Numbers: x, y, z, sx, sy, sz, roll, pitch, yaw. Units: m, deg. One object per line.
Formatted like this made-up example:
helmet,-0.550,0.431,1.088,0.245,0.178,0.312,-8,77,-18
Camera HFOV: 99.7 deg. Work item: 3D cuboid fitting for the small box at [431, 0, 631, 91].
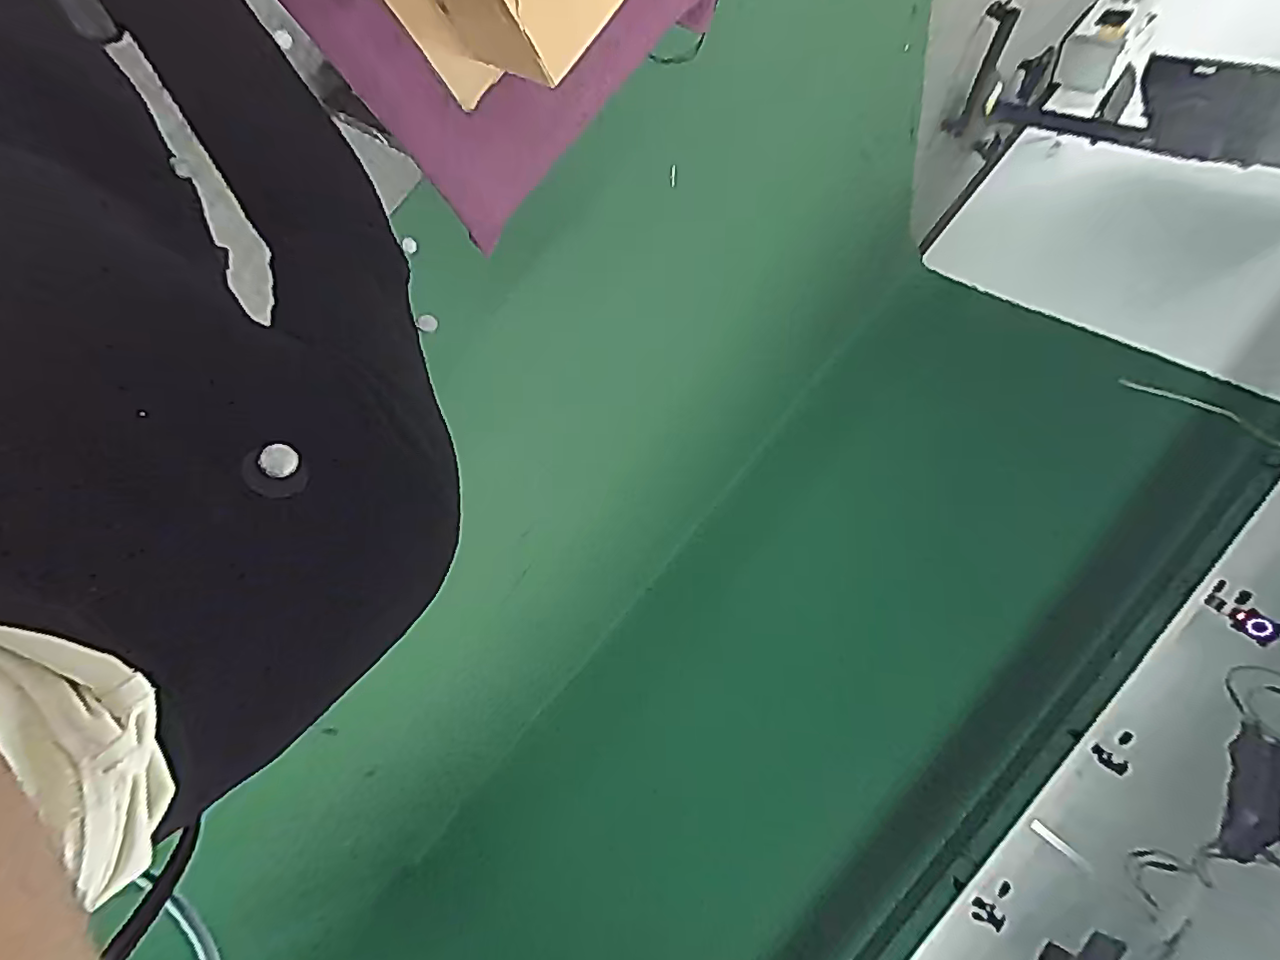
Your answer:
small box,-0.119,-0.539,0.528,0.179,0.176,0.168,-51,153,2
